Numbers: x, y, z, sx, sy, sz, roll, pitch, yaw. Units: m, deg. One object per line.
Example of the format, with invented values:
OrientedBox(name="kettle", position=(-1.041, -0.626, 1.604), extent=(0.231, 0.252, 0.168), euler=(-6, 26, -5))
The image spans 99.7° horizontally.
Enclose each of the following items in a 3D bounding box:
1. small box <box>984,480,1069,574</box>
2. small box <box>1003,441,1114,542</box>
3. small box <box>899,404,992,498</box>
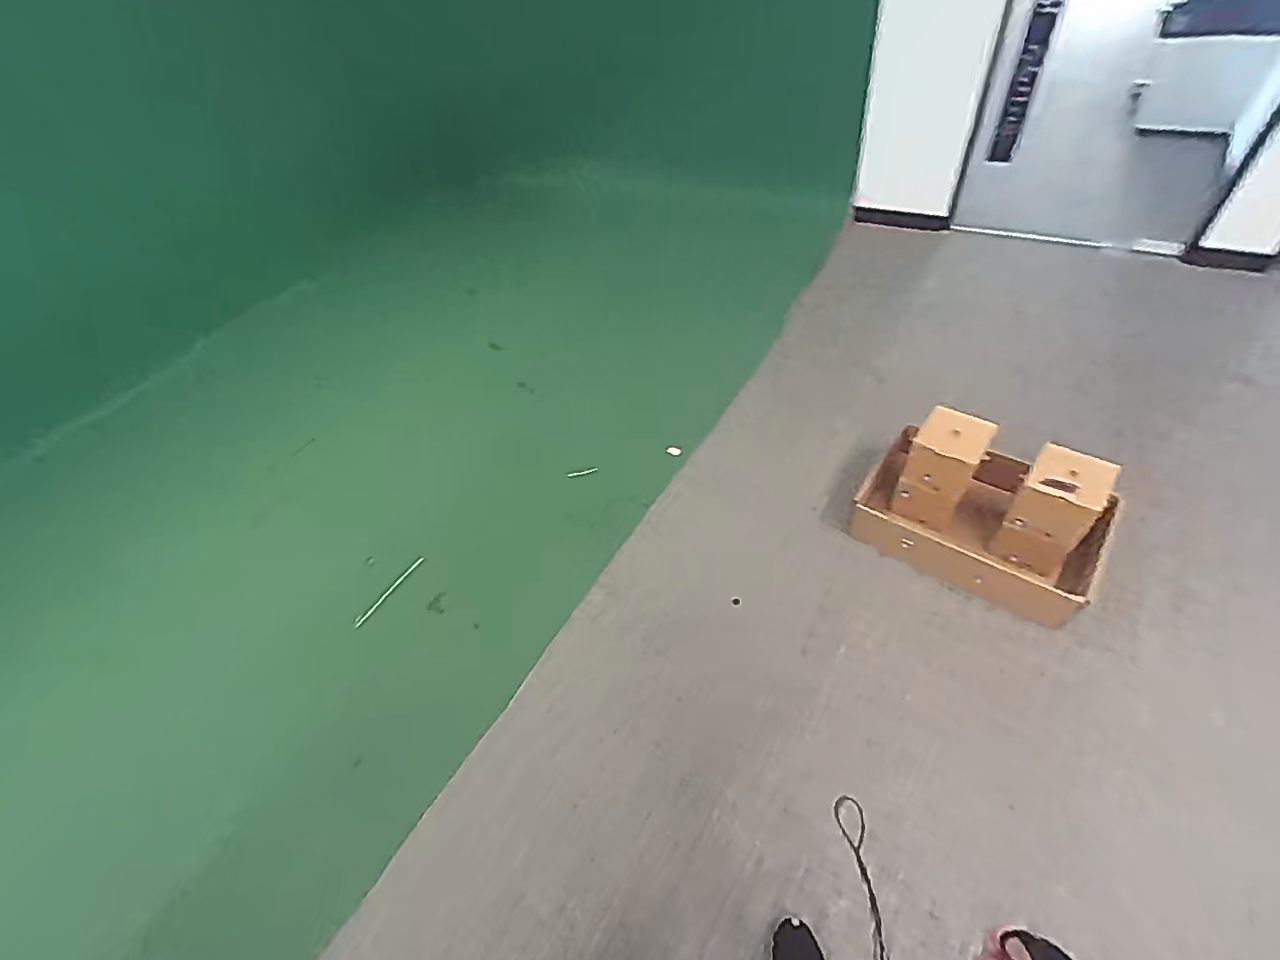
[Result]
OrientedBox(name="small box", position=(1.125, 0.136, 1.556), extent=(0.168, 0.176, 0.179), euler=(26, 62, 30))
OrientedBox(name="small box", position=(1.096, 0.033, 1.430), extent=(0.168, 0.176, 0.179), euler=(28, 61, 31))
OrientedBox(name="small box", position=(0.879, -0.083, 1.570), extent=(0.168, 0.176, 0.179), euler=(28, 61, 28))
